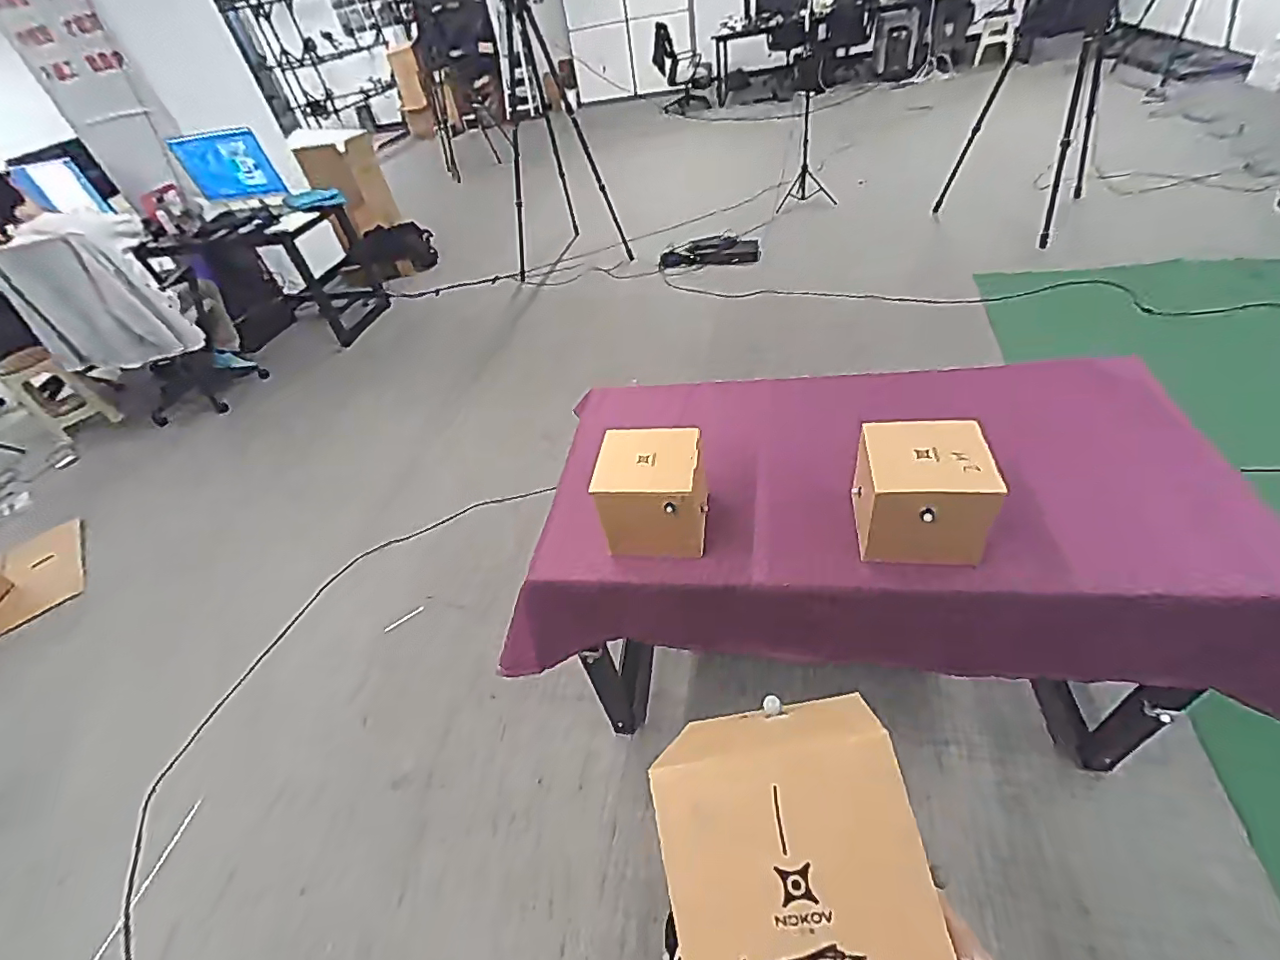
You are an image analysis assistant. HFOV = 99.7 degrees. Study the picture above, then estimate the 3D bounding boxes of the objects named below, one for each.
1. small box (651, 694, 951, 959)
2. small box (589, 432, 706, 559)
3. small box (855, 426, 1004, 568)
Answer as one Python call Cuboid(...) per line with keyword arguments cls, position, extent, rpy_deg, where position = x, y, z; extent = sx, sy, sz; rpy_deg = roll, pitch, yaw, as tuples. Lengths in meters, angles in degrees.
Cuboid(cls="small box", position=(0.120, 0.281, 0.420), extent=(0.168, 0.176, 0.179), rpy_deg=(-14, 73, 11))
Cuboid(cls="small box", position=(0.023, 0.029, 0.979), extent=(0.179, 0.176, 0.168), rpy_deg=(0, 43, 11))
Cuboid(cls="small box", position=(0.453, 0.028, 0.882), extent=(0.179, 0.176, 0.168), rpy_deg=(1, 44, 13))
